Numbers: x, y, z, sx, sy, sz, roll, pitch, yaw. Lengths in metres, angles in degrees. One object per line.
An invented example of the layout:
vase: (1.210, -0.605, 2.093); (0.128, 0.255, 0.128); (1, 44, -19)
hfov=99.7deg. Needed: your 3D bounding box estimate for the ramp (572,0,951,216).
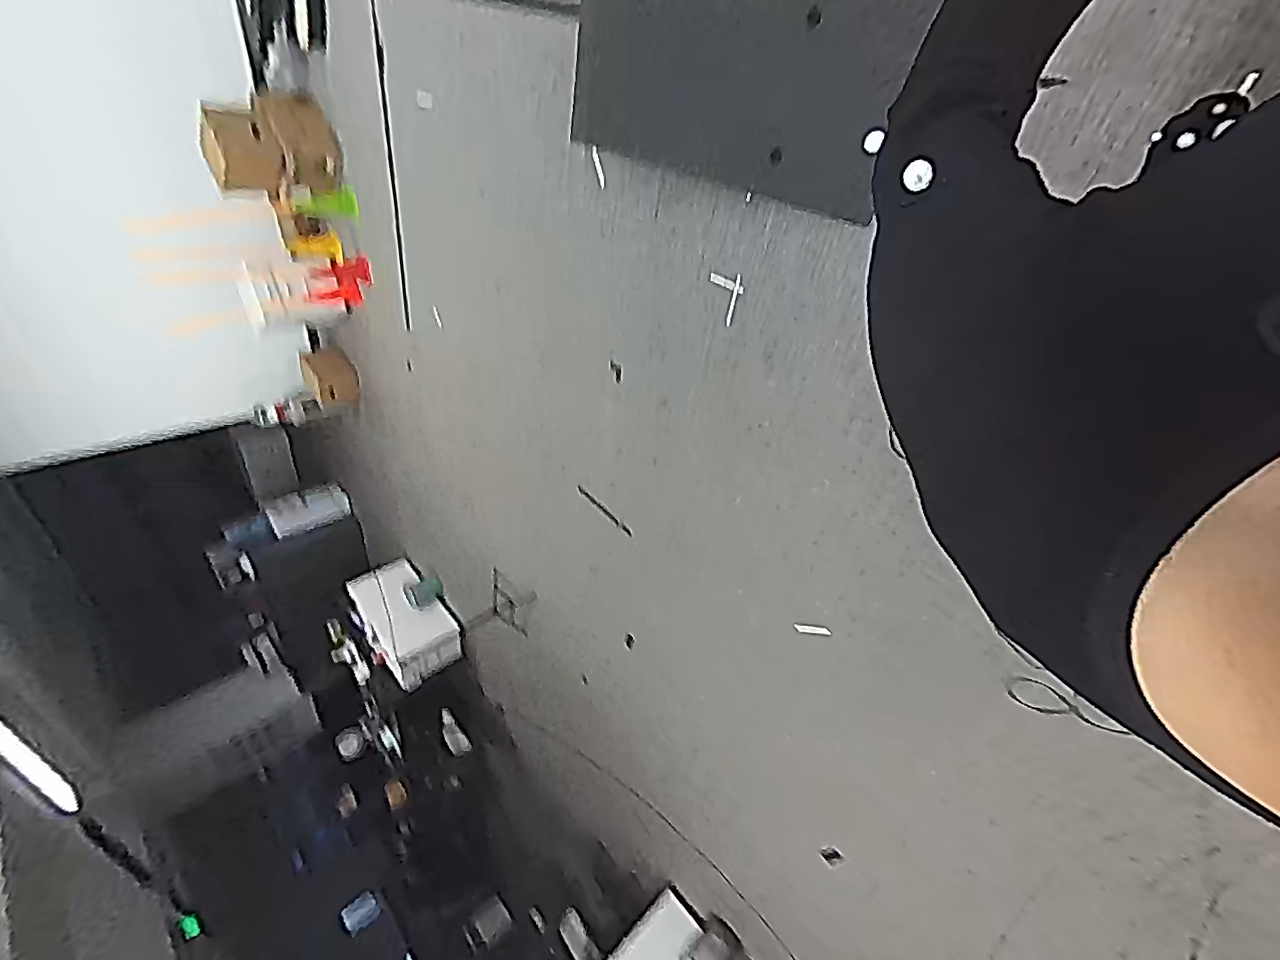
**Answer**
ramp: (0.224, -1.091, 1.428); (0.991, 0.206, 0.509); (35, 132, 31)
